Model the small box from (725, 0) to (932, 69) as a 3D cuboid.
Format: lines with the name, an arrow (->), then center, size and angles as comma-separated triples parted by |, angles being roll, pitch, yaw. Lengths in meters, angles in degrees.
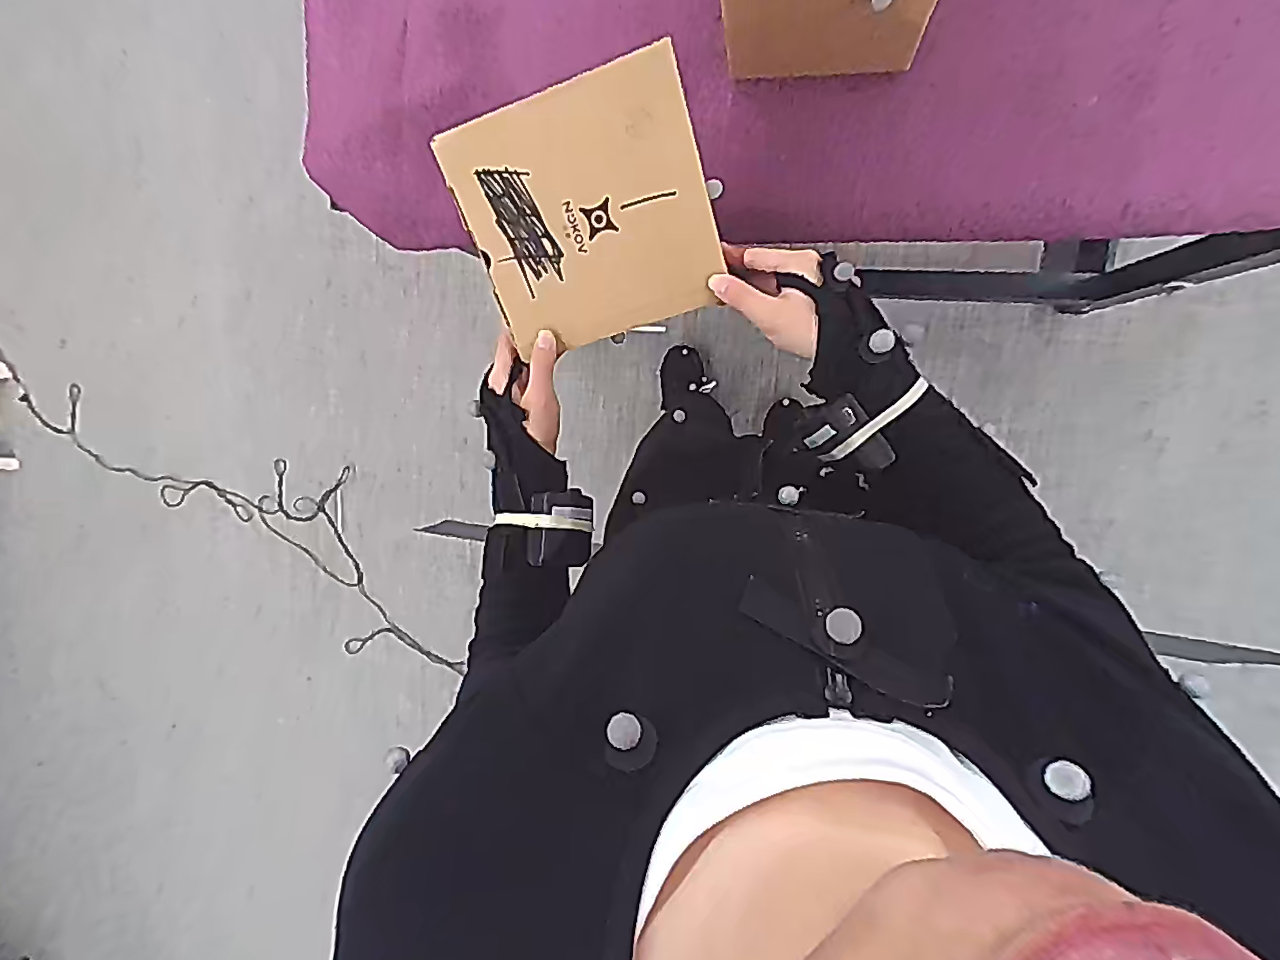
small box -> 0.167, -0.481, 0.451 | 0.179, 0.176, 0.168 | 7, 100, 13

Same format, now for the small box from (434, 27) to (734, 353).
small box -> -0.030, -0.222, 0.451 | 0.179, 0.176, 0.168 | -15, 114, 10
